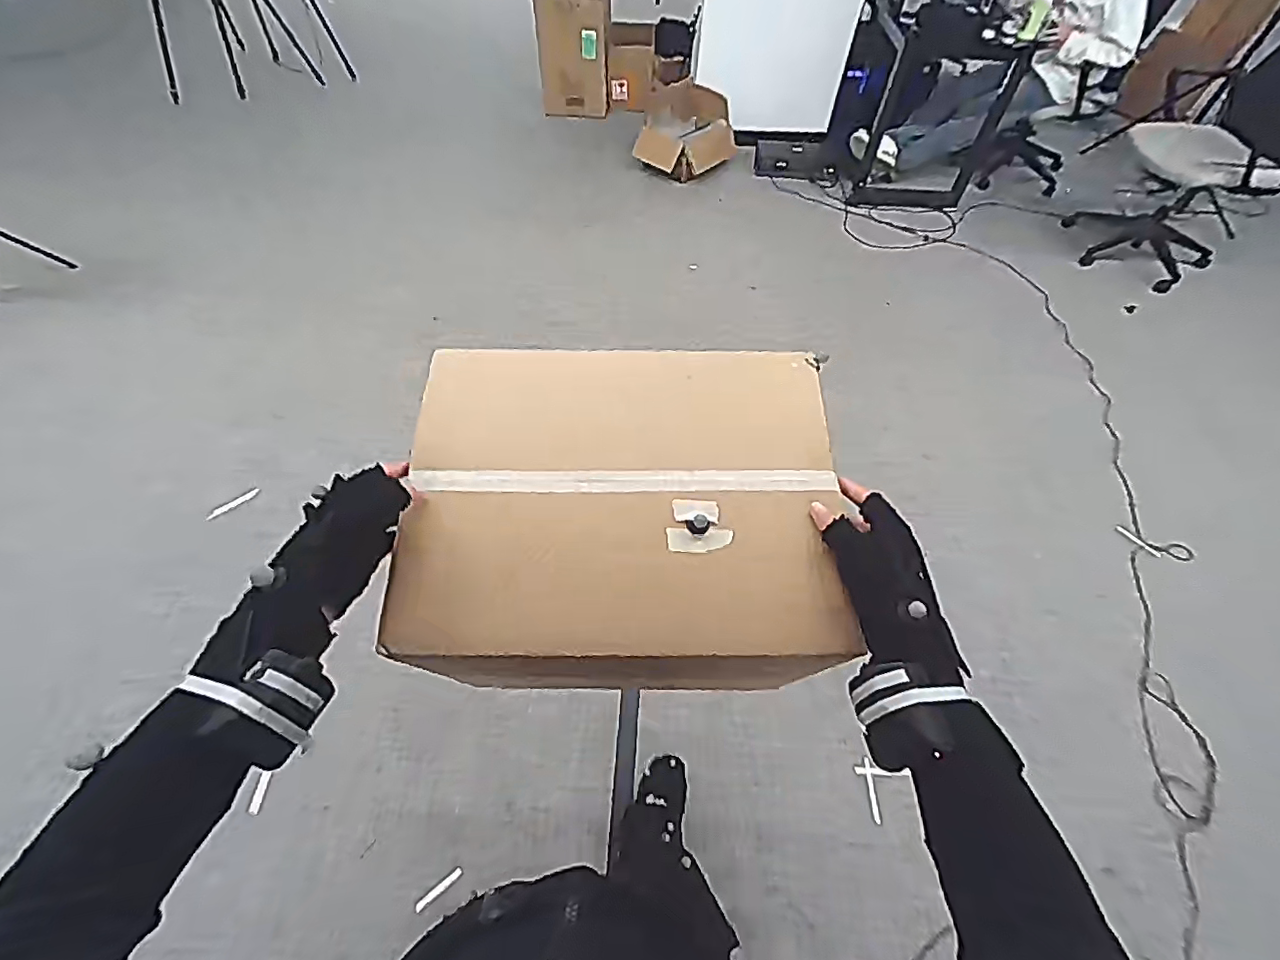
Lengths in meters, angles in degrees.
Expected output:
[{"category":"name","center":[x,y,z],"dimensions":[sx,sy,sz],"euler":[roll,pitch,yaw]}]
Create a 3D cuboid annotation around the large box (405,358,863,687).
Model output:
[{"category":"large box","center":[-0.011,0.070,0.660],"dimensions":[0.408,0.320,0.320],"euler":[1,65,-2]}]
